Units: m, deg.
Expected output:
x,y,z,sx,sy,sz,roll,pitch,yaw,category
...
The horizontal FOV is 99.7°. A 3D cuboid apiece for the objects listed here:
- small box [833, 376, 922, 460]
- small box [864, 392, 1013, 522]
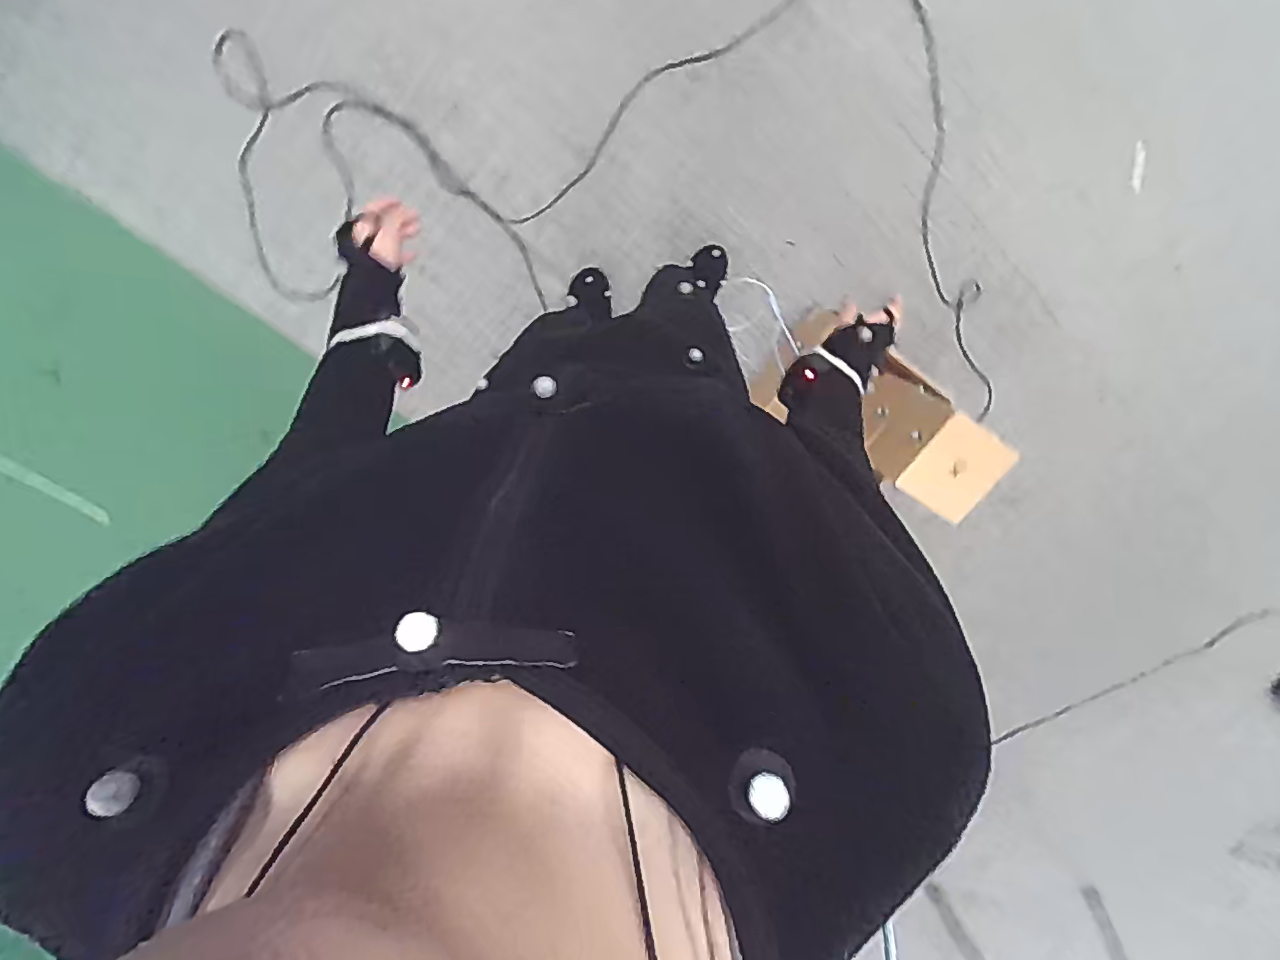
x,y,z,sx,sy,sz,roll,pitch,yaw,category
0.578,-0.115,1.240,0.168,0.176,0.179,35,108,-14,small box
0.584,-0.053,1.091,0.168,0.176,0.179,30,108,-13,small box
